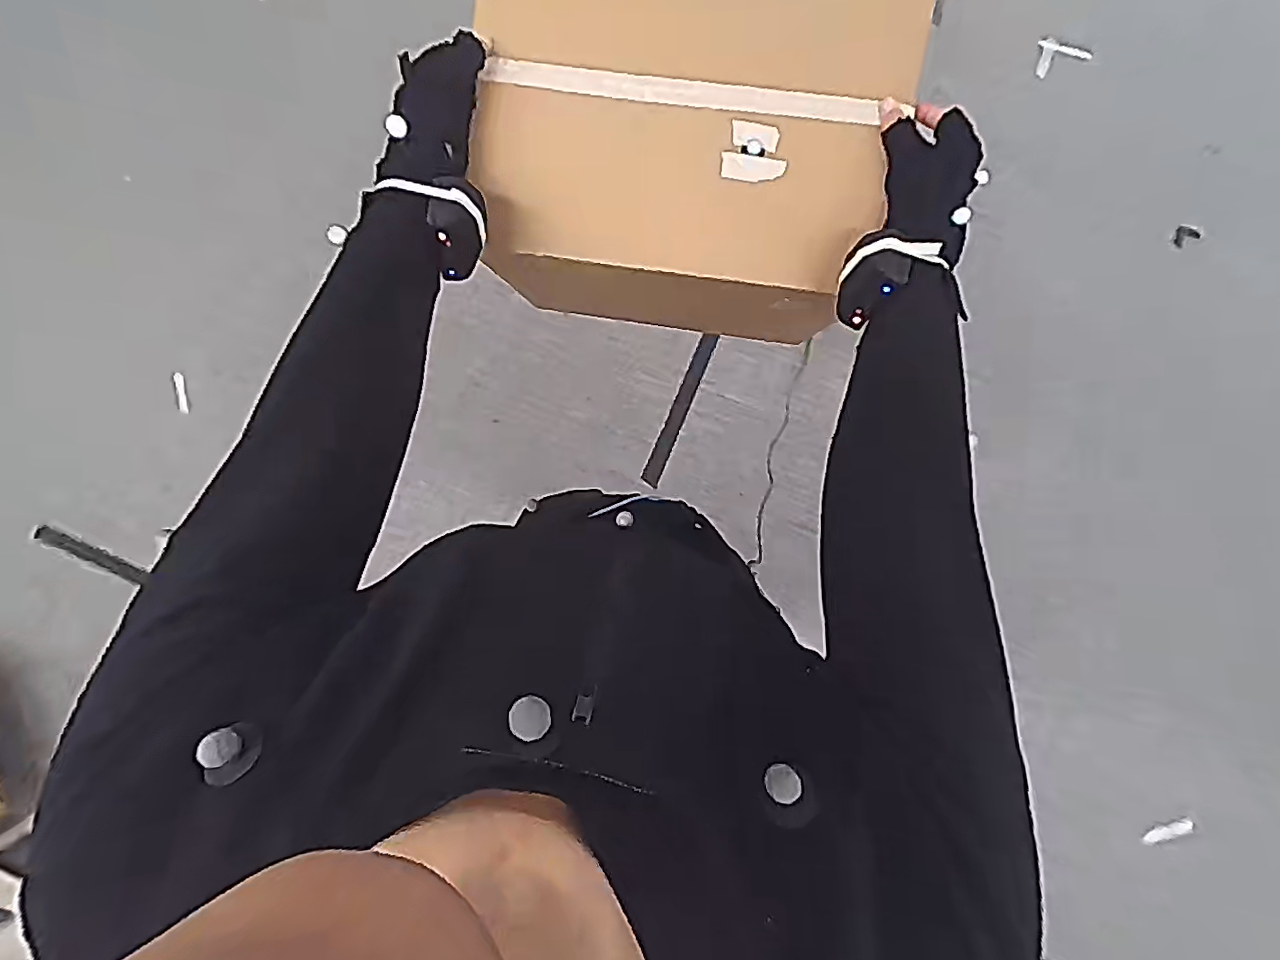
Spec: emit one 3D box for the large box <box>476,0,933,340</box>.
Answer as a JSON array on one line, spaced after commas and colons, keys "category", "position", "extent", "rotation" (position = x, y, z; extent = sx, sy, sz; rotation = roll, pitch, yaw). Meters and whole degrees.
[{"category": "large box", "position": [0.058, -0.370, 0.654], "extent": [0.408, 0.320, 0.320], "rotation": [9, 97, 1]}]
